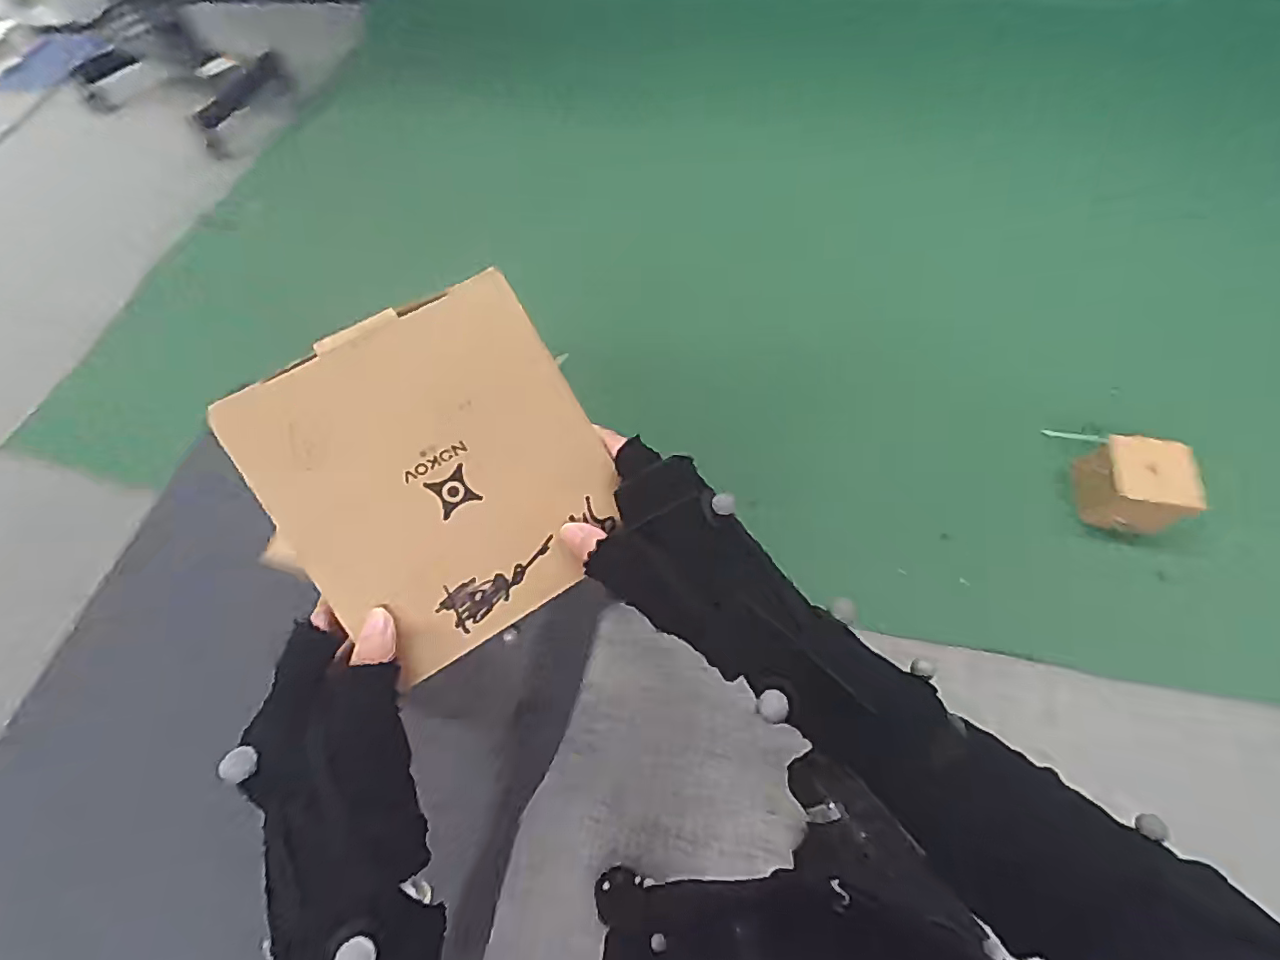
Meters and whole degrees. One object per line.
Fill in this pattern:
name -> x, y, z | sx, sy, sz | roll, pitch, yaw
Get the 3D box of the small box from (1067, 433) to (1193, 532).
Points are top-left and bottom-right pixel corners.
small box -> 1.206, 0.009, 1.349 | 0.168, 0.176, 0.179 | 10, 64, 12

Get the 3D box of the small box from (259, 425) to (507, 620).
small box -> -0.280, 0.057, 0.639 | 0.179, 0.176, 0.168 | 9, 64, 11
